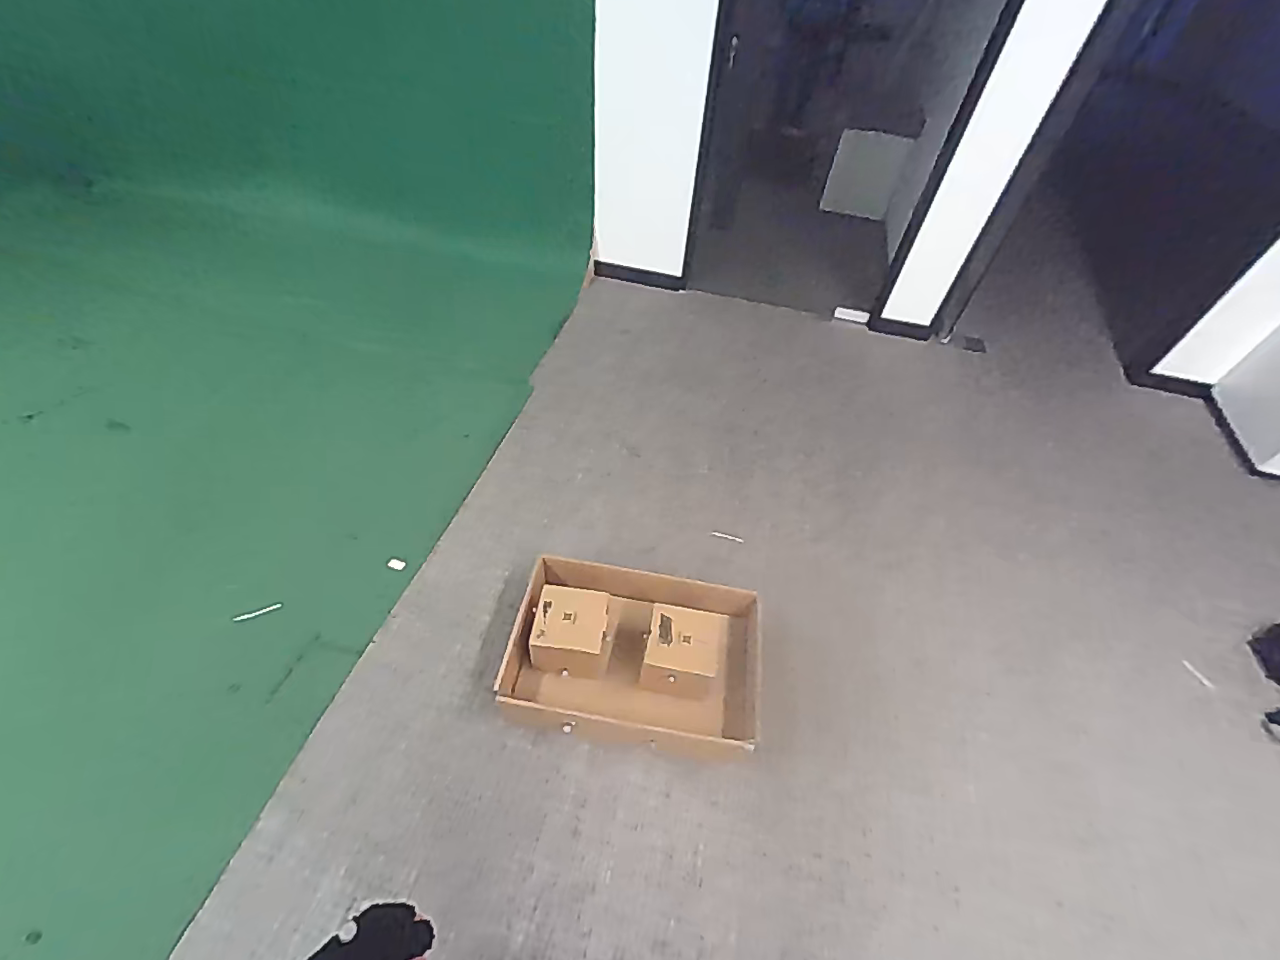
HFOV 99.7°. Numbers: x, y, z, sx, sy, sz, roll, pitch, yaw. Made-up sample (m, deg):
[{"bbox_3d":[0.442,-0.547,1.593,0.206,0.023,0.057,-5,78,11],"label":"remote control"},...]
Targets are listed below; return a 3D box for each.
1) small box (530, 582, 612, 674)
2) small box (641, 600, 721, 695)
[{"bbox_3d":[-0.176,0.390,1.404,0.179,0.176,0.168,8,49,0],"label":"small box"},{"bbox_3d":[0.102,0.435,1.390,0.179,0.176,0.168,10,50,4],"label":"small box"}]
